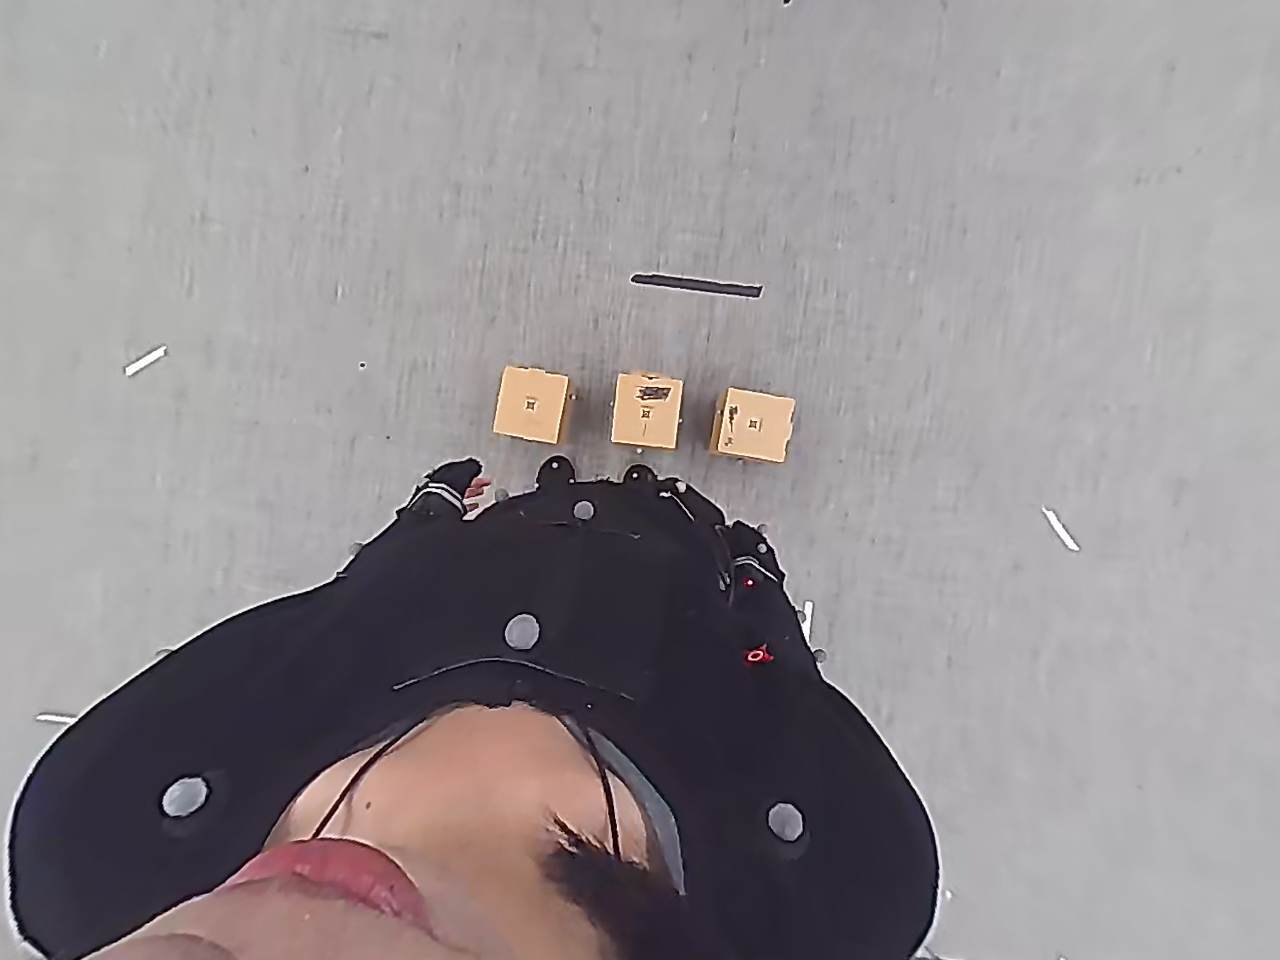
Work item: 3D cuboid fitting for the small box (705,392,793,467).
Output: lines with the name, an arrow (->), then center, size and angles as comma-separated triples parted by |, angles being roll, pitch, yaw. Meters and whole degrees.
small box -> 0.285, -0.131, 1.442 | 0.179, 0.176, 0.168 | 10, 91, -3

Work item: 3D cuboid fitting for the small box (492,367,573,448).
small box -> -0.276, -0.186, 1.427 | 0.168, 0.176, 0.179 | 10, 92, 0

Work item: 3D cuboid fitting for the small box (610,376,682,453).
small box -> 0.011, -0.168, 1.432 | 0.168, 0.176, 0.179 | 7, 92, -1
